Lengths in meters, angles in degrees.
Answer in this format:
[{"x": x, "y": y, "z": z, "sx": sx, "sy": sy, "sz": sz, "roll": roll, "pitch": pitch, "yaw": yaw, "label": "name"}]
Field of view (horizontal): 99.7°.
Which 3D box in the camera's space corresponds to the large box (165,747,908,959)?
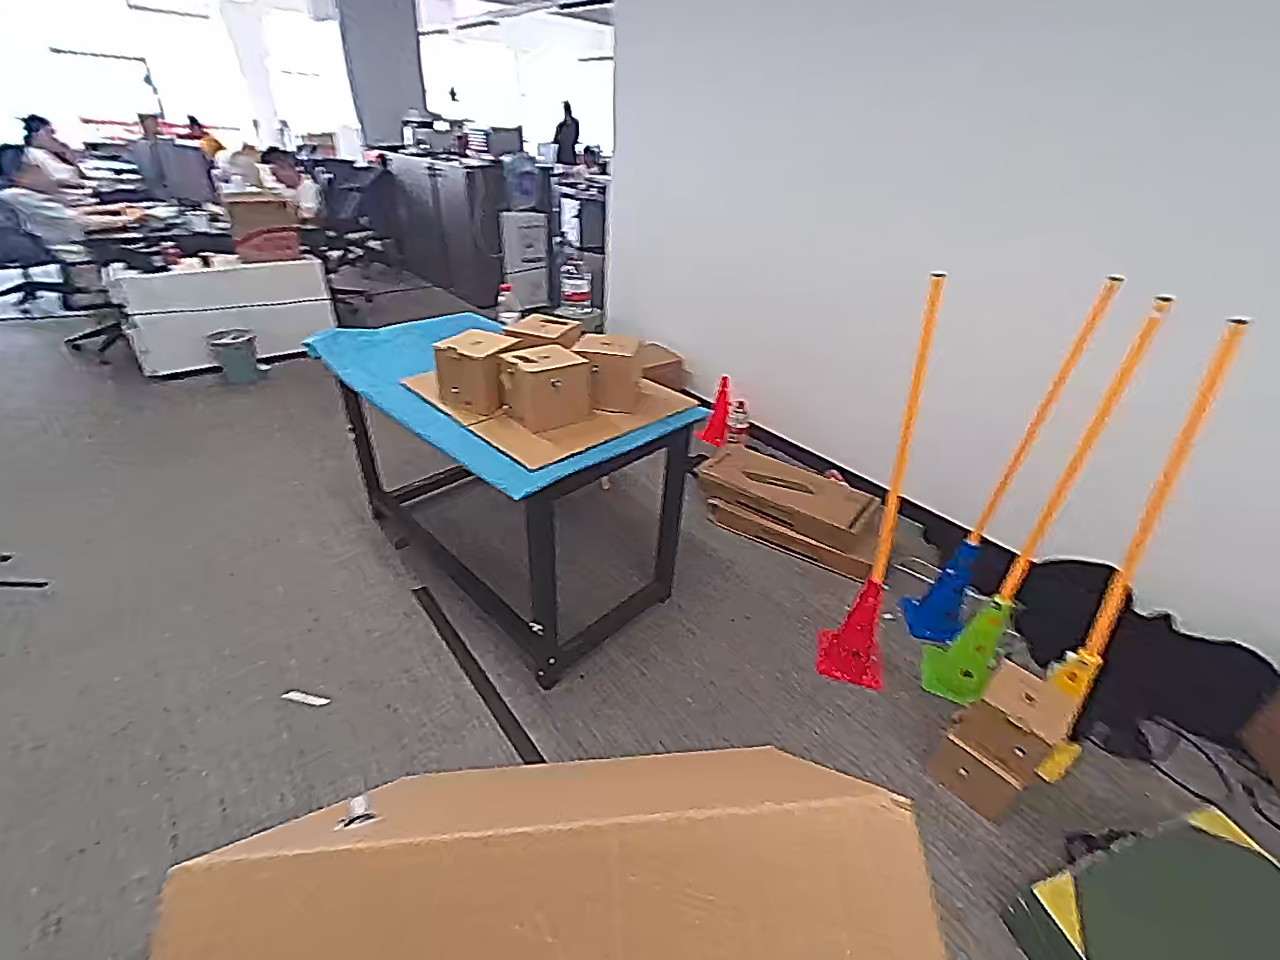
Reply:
[{"x": -0.049, "y": 0.397, "z": 0.395, "sx": 0.408, "sy": 0.320, "sz": 0.320, "roll": -5, "pitch": 69, "yaw": -4, "label": "large box"}]
